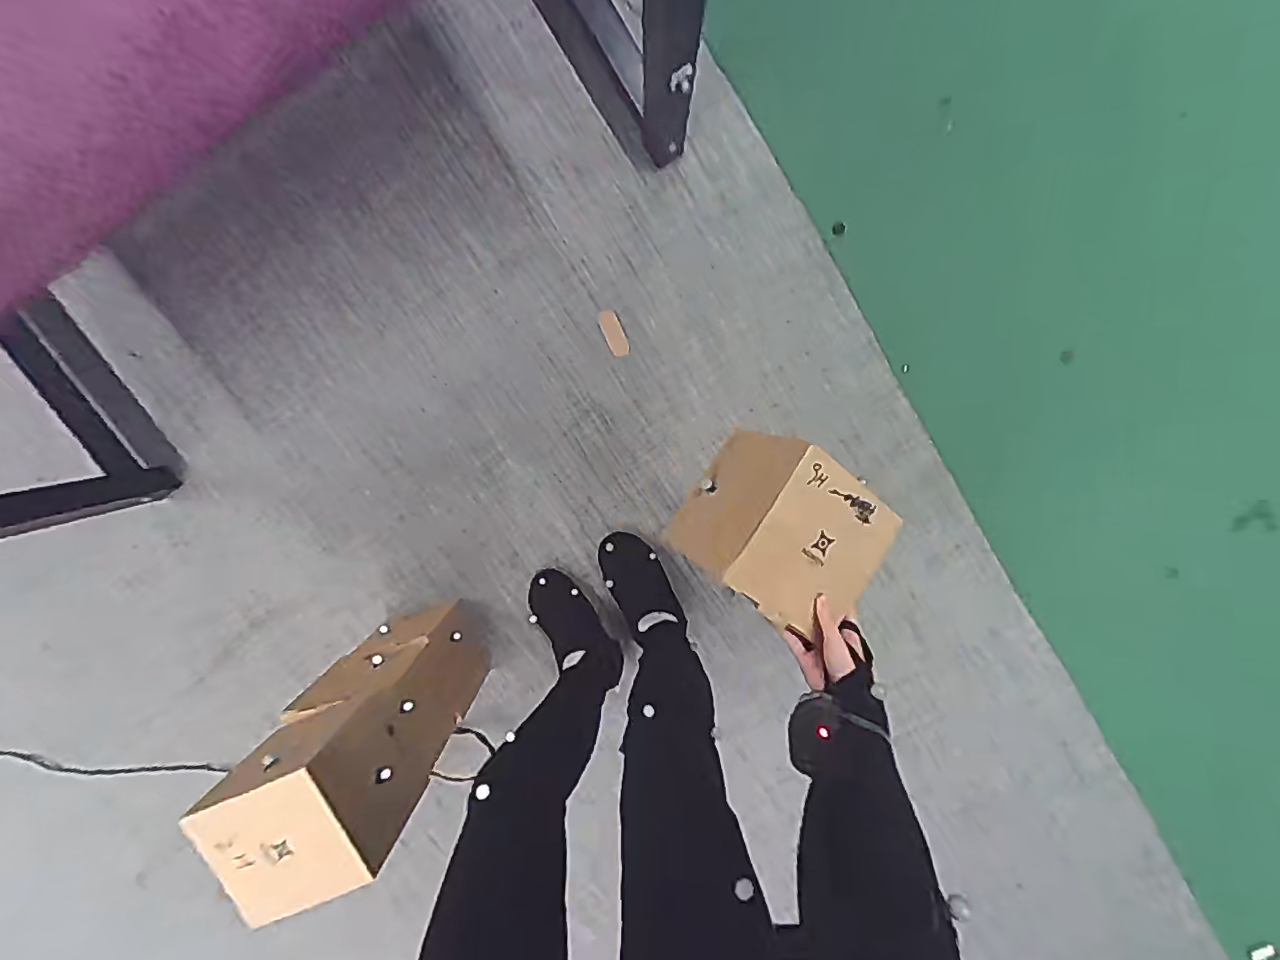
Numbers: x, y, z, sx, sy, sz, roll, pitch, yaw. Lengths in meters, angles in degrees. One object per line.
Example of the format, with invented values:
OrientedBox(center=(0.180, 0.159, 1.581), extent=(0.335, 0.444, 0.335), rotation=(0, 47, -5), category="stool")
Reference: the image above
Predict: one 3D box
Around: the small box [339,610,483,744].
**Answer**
OrientedBox(center=(-0.420, 0.363, 1.023), extent=(0.168, 0.176, 0.179), rotation=(-16, 100, 4), category="small box")

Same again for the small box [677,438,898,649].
OrientedBox(center=(0.166, 0.067, 0.670), extent=(0.168, 0.176, 0.179), rotation=(37, 88, -20), category="small box")

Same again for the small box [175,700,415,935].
OrientedBox(center=(-0.421, 0.420, 0.701), extent=(0.179, 0.176, 0.168), rotation=(-23, 98, 5), category="small box")
